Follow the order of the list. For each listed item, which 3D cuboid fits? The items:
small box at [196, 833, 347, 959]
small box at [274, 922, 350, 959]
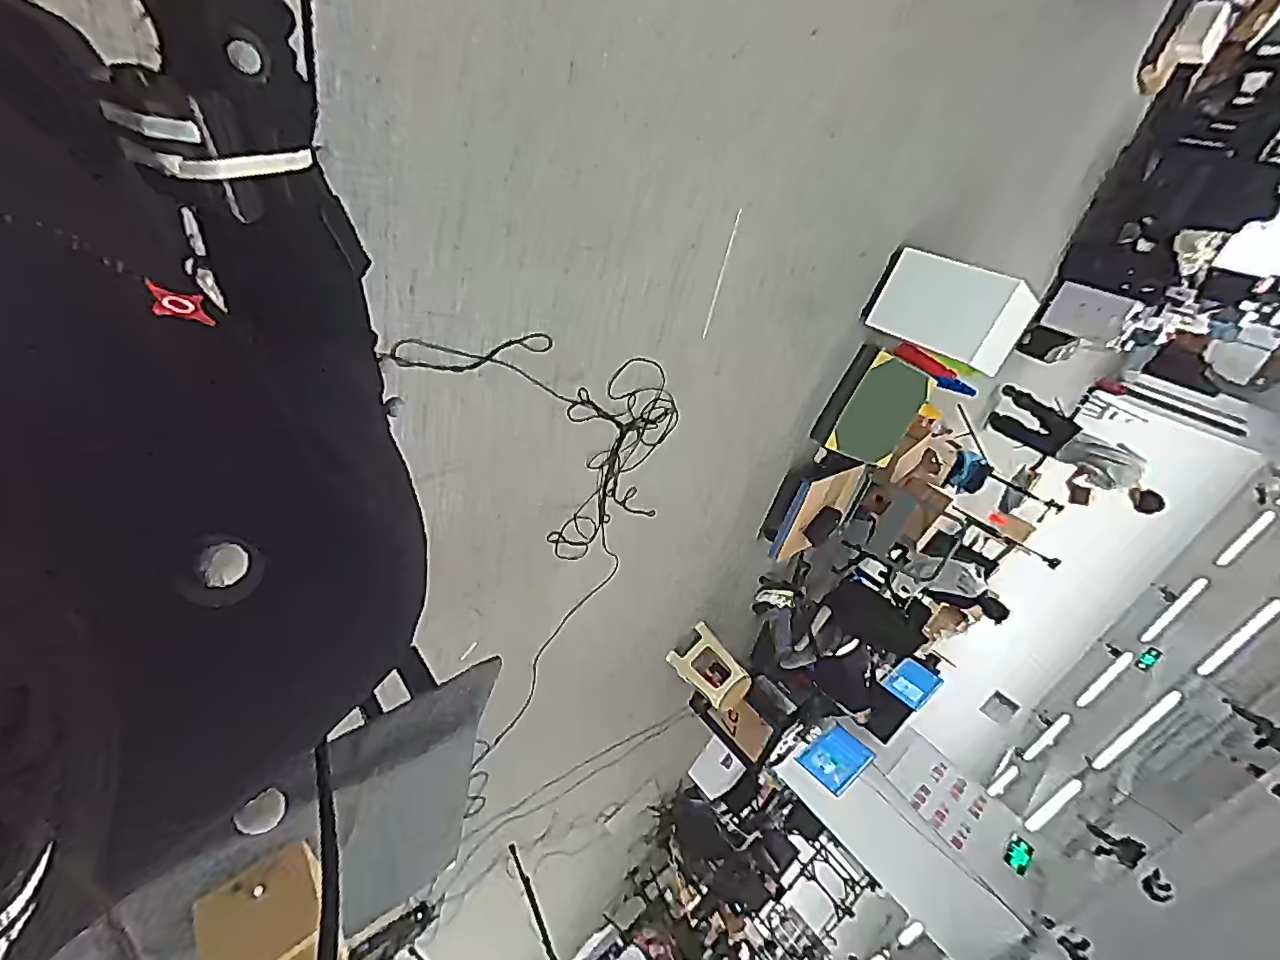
[{"bbox_3d":[-0.645,0.773,0.953,0.168,0.176,0.179,-23,136,-35],"label":"small box"},{"bbox_3d":[-0.548,0.871,0.867,0.179,0.176,0.168,-19,133,-37],"label":"small box"}]
